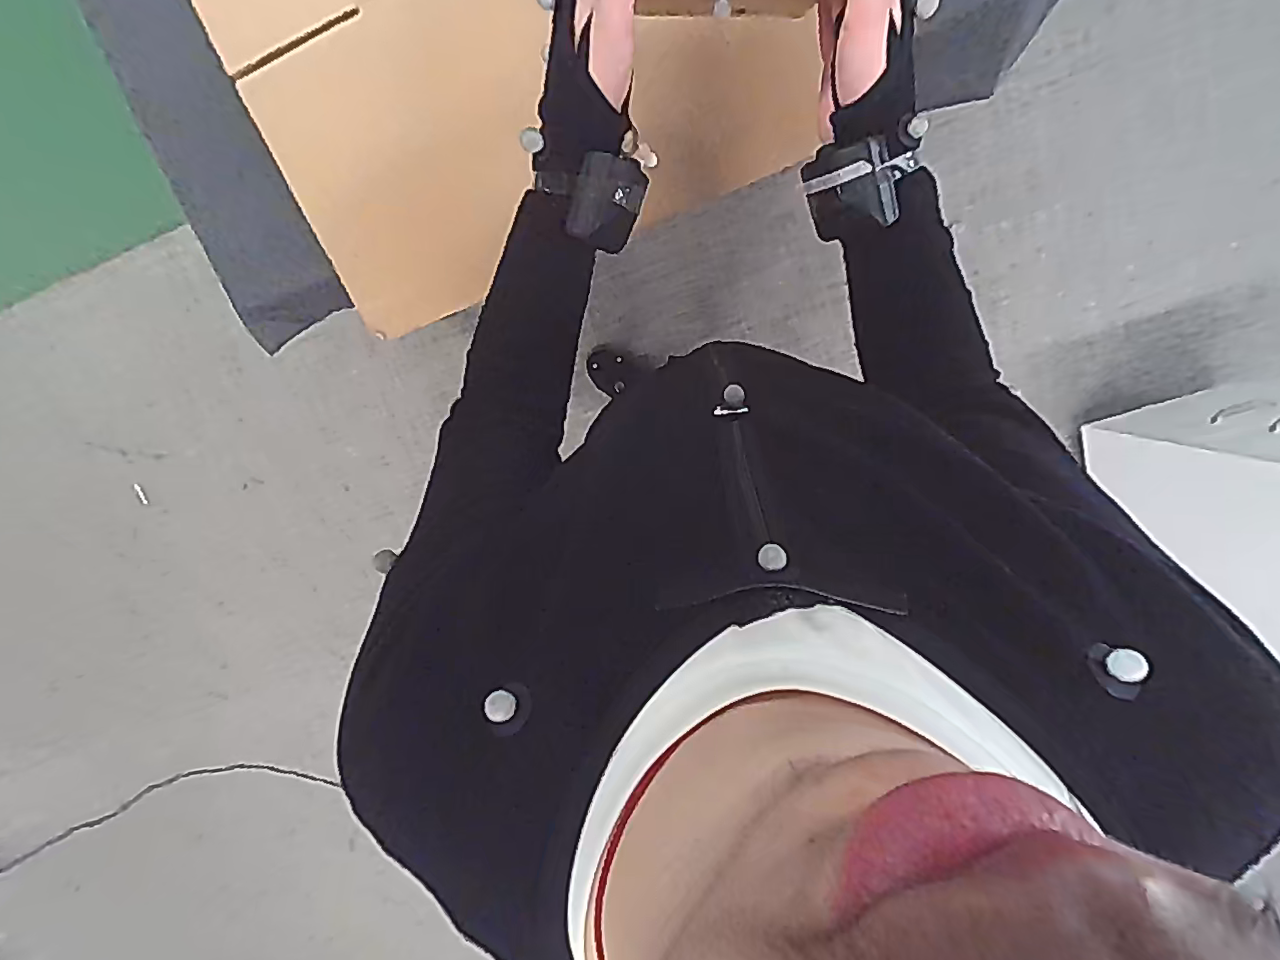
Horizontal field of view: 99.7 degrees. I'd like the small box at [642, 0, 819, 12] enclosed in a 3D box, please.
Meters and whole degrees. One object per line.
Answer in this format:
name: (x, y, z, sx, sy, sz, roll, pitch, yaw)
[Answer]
small box: (0.072, -0.444, 0.364, 0.168, 0.176, 0.179, -1, 119, 2)
